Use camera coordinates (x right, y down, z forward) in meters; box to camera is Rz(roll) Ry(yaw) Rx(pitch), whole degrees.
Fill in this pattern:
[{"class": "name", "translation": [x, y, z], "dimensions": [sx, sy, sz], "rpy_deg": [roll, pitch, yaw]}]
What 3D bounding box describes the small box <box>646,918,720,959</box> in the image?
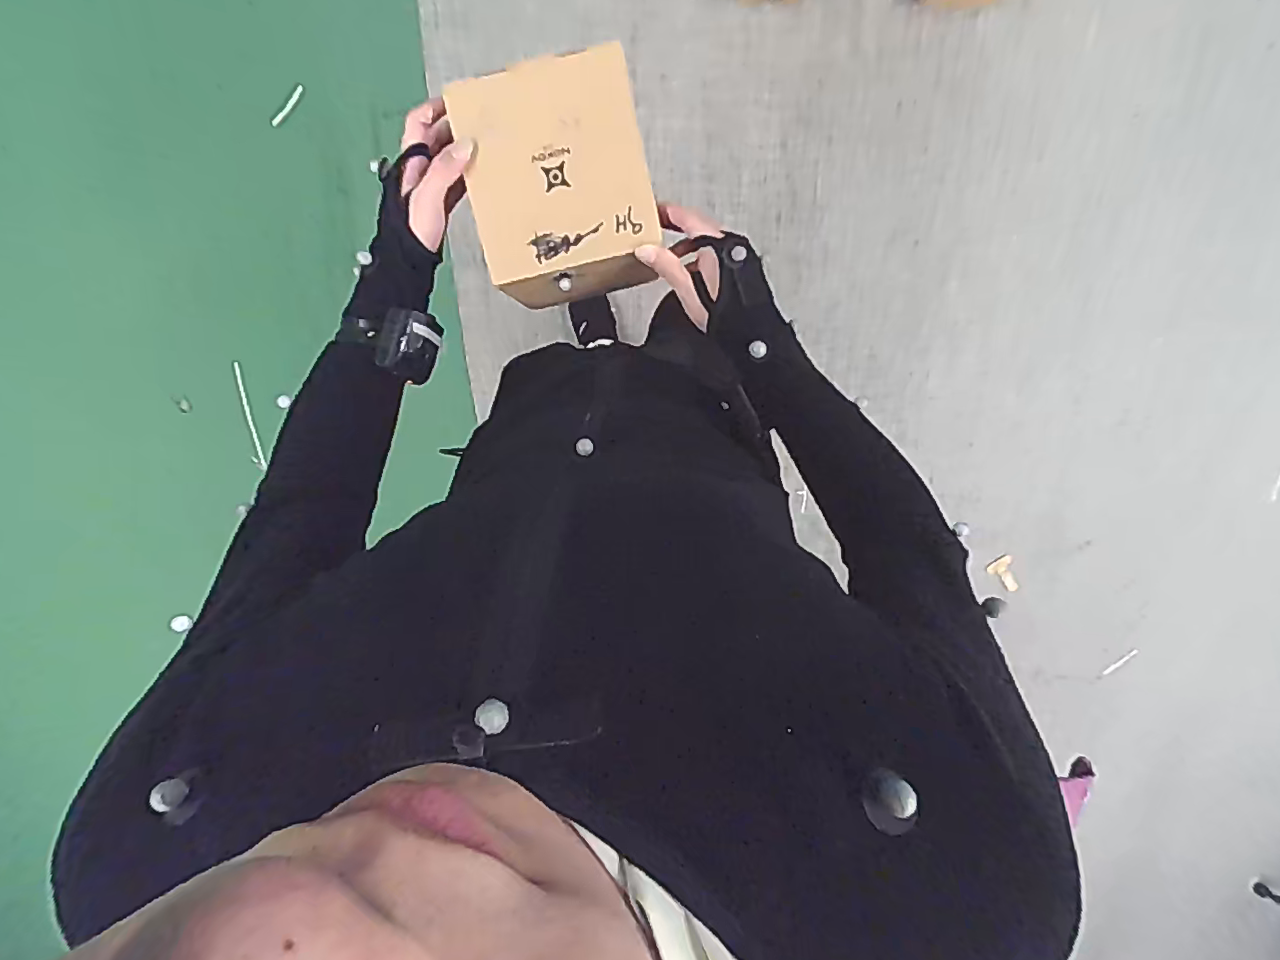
[{"class": "small box", "translation": [0.099, 1.146, 1.240], "dimensions": [0.168, 0.176, 0.179], "rpy_deg": [-2, 112, 0]}]
